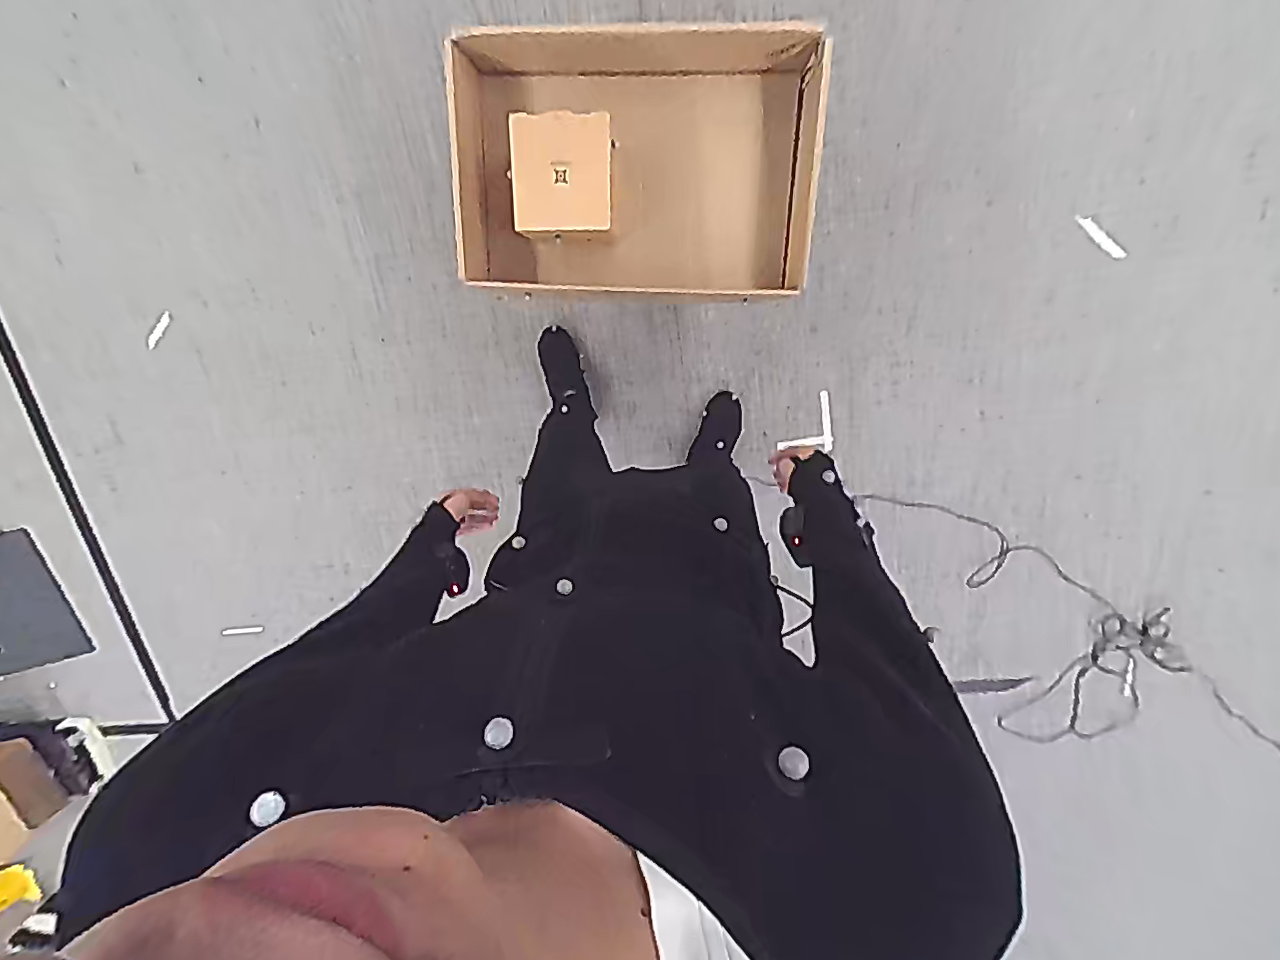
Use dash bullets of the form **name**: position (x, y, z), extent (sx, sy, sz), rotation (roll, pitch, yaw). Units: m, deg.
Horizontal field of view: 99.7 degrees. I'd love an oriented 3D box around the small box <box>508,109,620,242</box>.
- **small box**: position (-0.125, -0.524, 0.955), extent (0.168, 0.176, 0.179), rotation (1, 105, 4)
